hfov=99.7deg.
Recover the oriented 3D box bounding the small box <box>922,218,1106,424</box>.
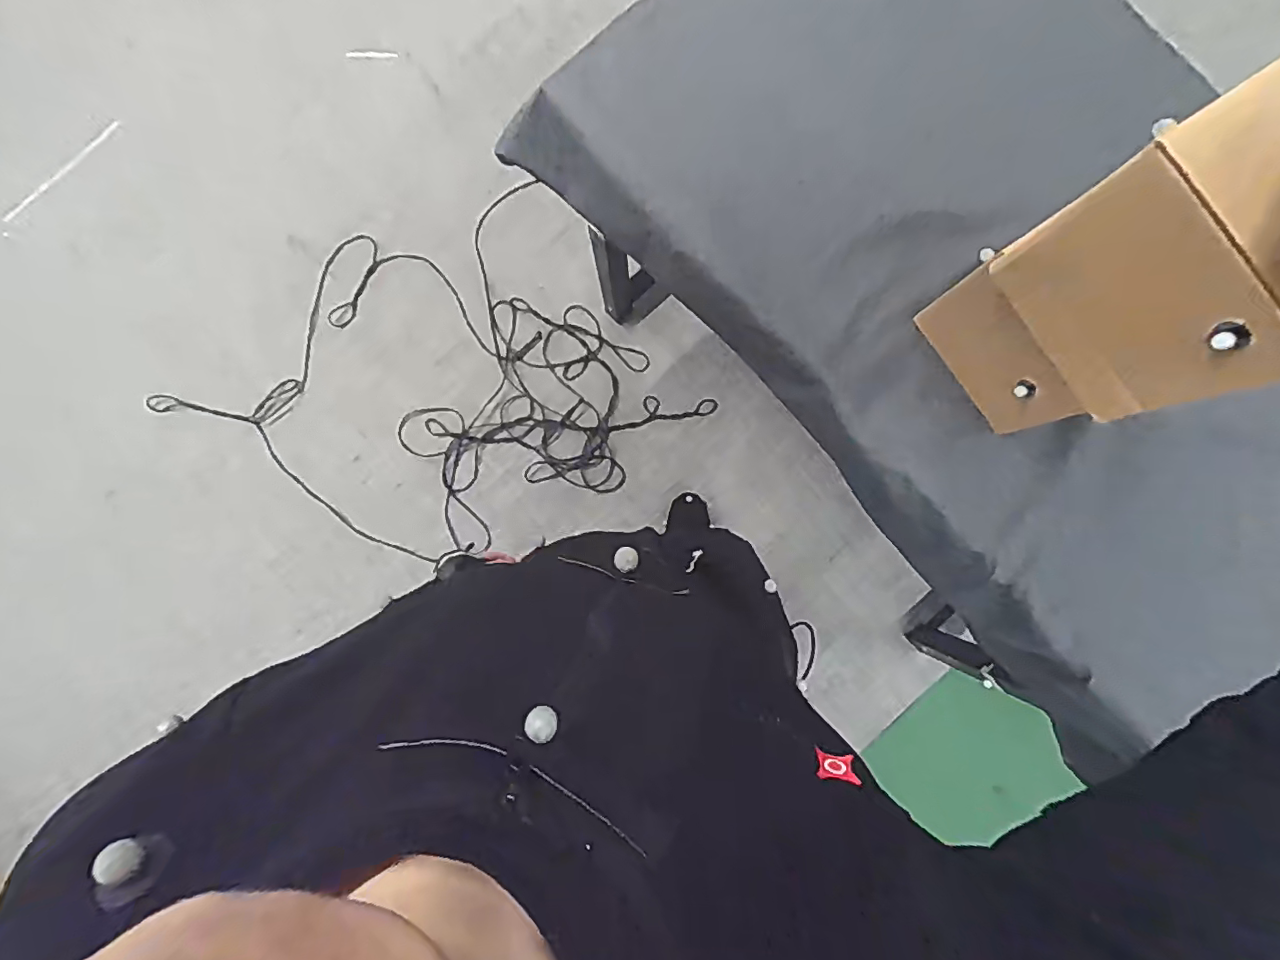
[{"bbox_3d":[0.452,-0.176,0.578,0.168,0.176,0.179,-34,86,-3],"label":"small box"}]

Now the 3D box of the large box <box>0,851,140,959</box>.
[{"bbox_3d":[-1.428,1.143,1.169,0.320,0.320,0.408,-43,86,-3],"label":"large box"}]

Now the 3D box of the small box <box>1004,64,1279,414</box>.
[{"bbox_3d":[0.436,-0.174,0.414,0.168,0.176,0.179,-33,87,-3],"label":"small box"}]
